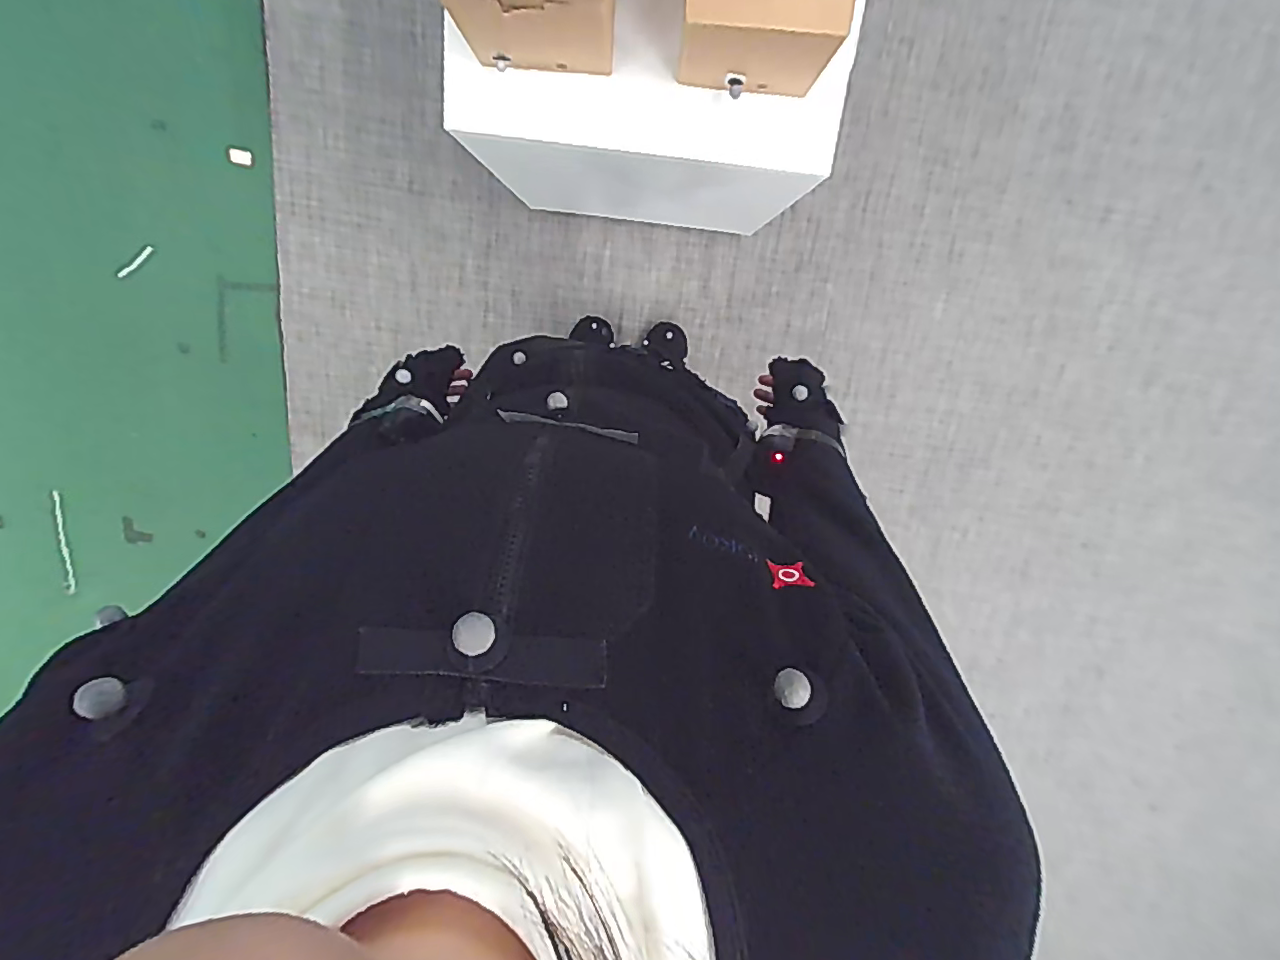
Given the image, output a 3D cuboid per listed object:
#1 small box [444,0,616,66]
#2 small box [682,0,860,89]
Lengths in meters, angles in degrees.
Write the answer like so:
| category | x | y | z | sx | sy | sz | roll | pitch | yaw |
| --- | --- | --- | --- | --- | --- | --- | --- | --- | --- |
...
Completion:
| category | x | y | z | sx | sy | sz | roll | pitch | yaw |
| --- | --- | --- | --- | --- | --- | --- | --- | --- | --- |
| small box | -0.111 | -0.576 | 0.574 | 0.168 | 0.176 | 0.179 | 4 | 106 | 0 |
| small box | 0.134 | -0.546 | 0.565 | 0.168 | 0.176 | 0.179 | 4 | 109 | 1 |
